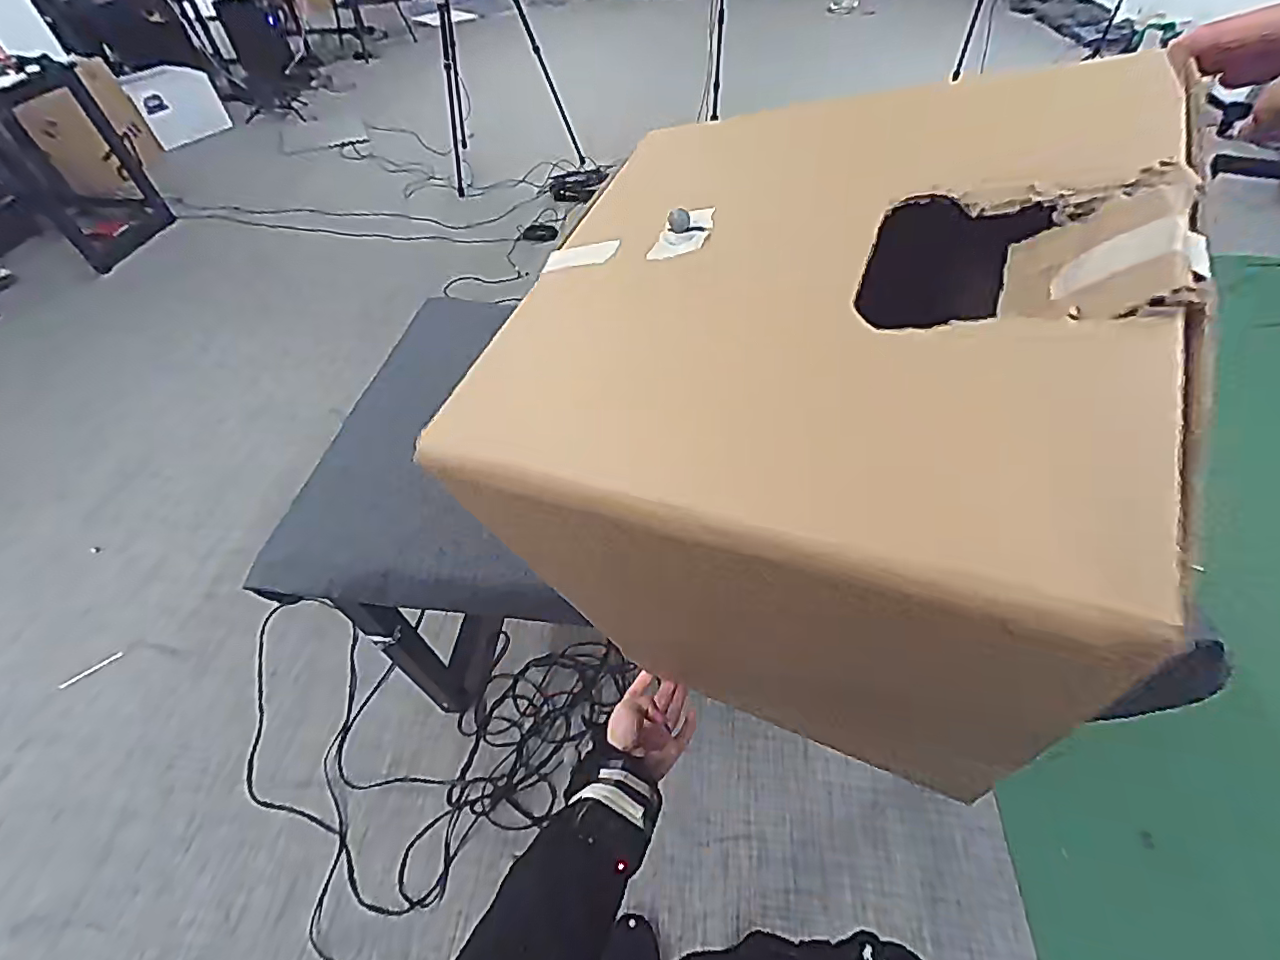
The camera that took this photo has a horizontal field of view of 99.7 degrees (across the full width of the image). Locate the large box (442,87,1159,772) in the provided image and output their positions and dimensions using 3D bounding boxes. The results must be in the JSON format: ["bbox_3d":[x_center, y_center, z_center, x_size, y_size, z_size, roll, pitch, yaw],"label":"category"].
[{"bbox_3d":[0.132,-0.003,0.441,0.320,0.408,0.320,12,63,28],"label":"large box"}]
